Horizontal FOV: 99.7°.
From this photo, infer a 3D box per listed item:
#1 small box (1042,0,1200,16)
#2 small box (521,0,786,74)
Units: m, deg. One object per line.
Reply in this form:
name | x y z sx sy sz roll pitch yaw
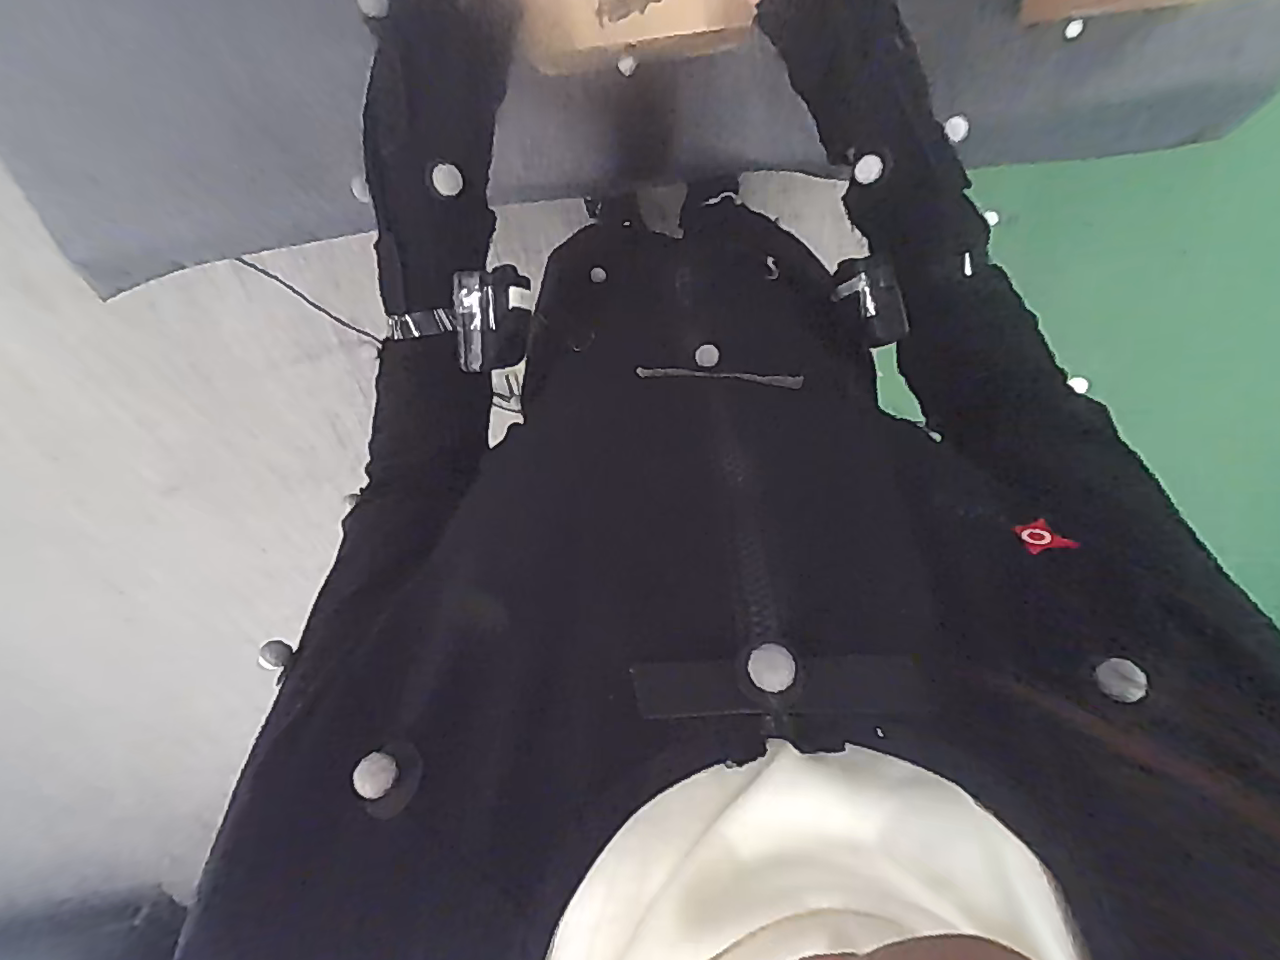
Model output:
small box | 0.413 -0.442 0.366 0.168 0.176 0.179 -8 123 0
small box | -0.005 -0.393 0.359 0.168 0.176 0.179 -8 124 0
